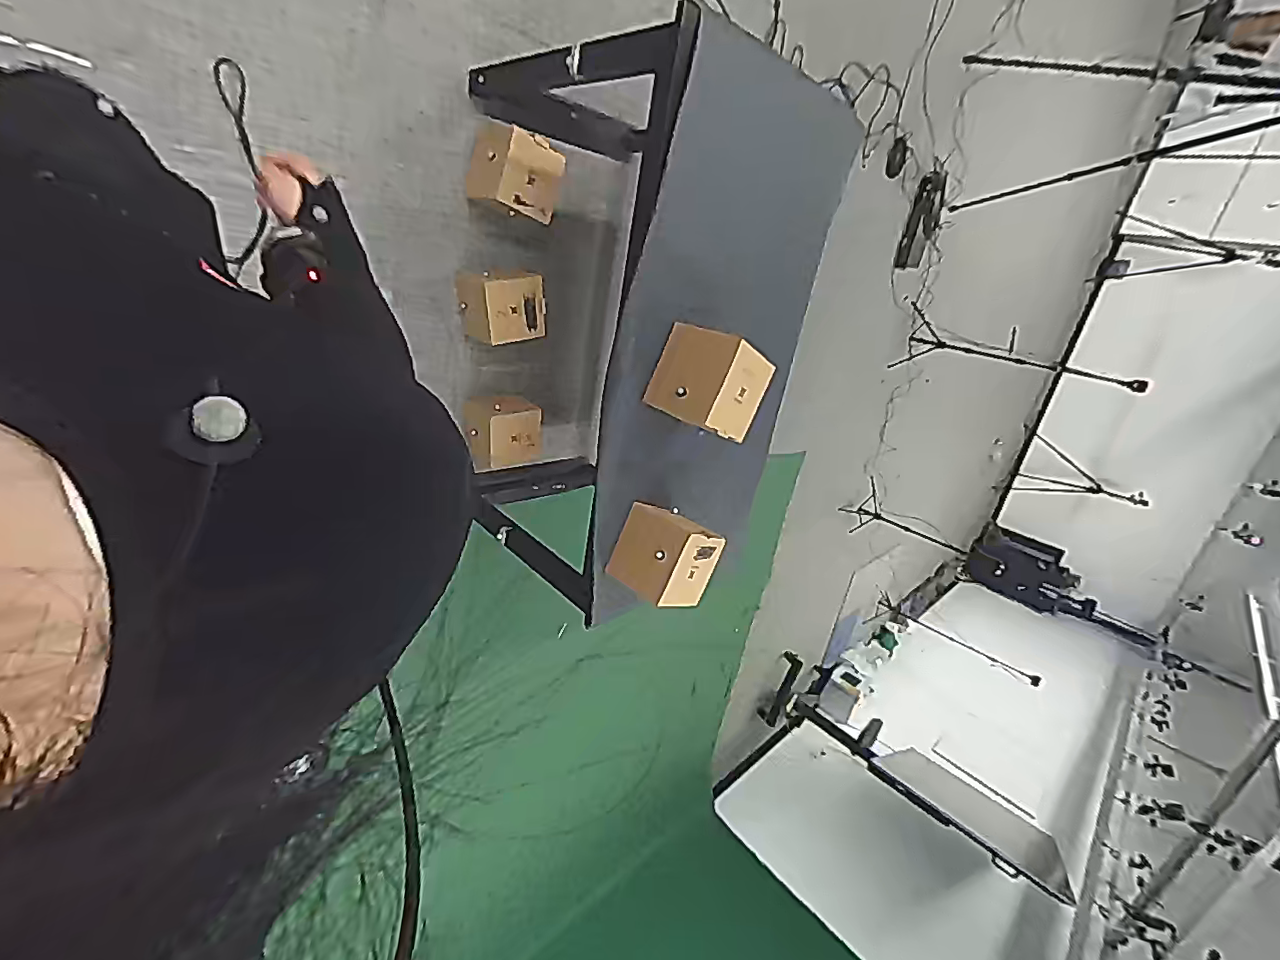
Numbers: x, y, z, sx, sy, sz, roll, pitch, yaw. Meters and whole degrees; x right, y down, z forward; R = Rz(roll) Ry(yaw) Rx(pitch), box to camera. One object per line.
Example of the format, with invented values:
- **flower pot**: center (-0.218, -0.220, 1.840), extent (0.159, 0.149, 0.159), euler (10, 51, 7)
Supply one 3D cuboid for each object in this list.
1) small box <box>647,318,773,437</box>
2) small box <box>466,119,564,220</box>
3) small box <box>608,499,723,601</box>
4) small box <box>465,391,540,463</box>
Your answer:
- **small box**: center (0.138, -0.211, 1.112), extent (0.168, 0.176, 0.179), euler (15, 99, -53)
- **small box**: center (-0.331, -0.803, 1.410), extent (0.168, 0.176, 0.179), euler (5, 108, -48)
- **small box**: center (0.055, 0.158, 1.232), extent (0.168, 0.176, 0.179), euler (17, 98, -53)
- **small box**: center (-0.429, -0.169, 1.676), extent (0.179, 0.176, 0.168), euler (-17, 124, -41)
